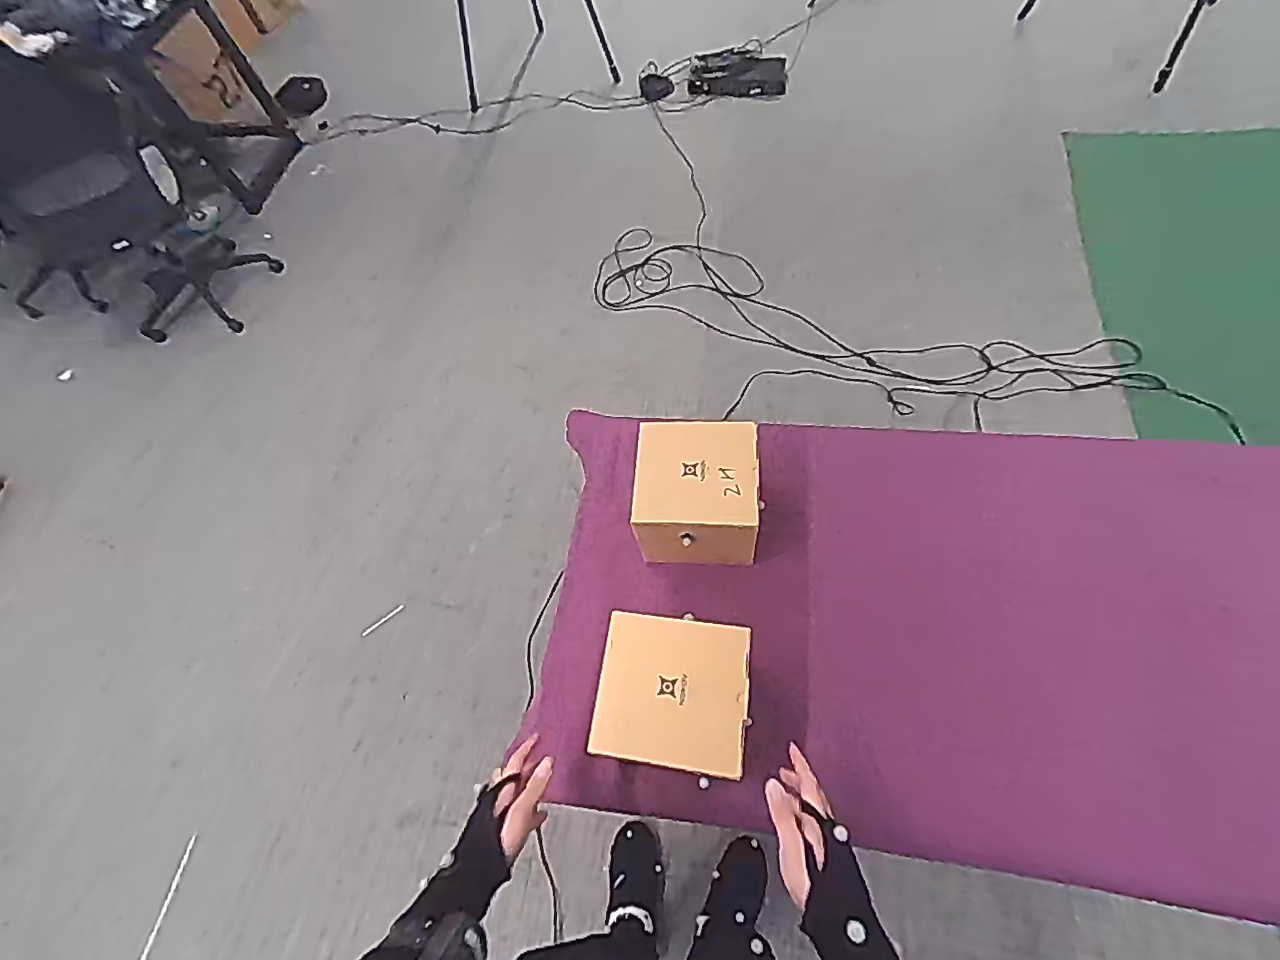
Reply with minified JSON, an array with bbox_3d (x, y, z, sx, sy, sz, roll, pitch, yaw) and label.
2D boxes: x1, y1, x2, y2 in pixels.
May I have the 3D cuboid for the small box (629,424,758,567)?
[{"bbox_3d":[0.088,0.029,0.830,0.179,0.176,0.168,1,63,9],"label":"small box"}]

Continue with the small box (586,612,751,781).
[{"bbox_3d":[0.045,0.284,0.699,0.179,0.176,0.168,5,61,10],"label":"small box"}]
